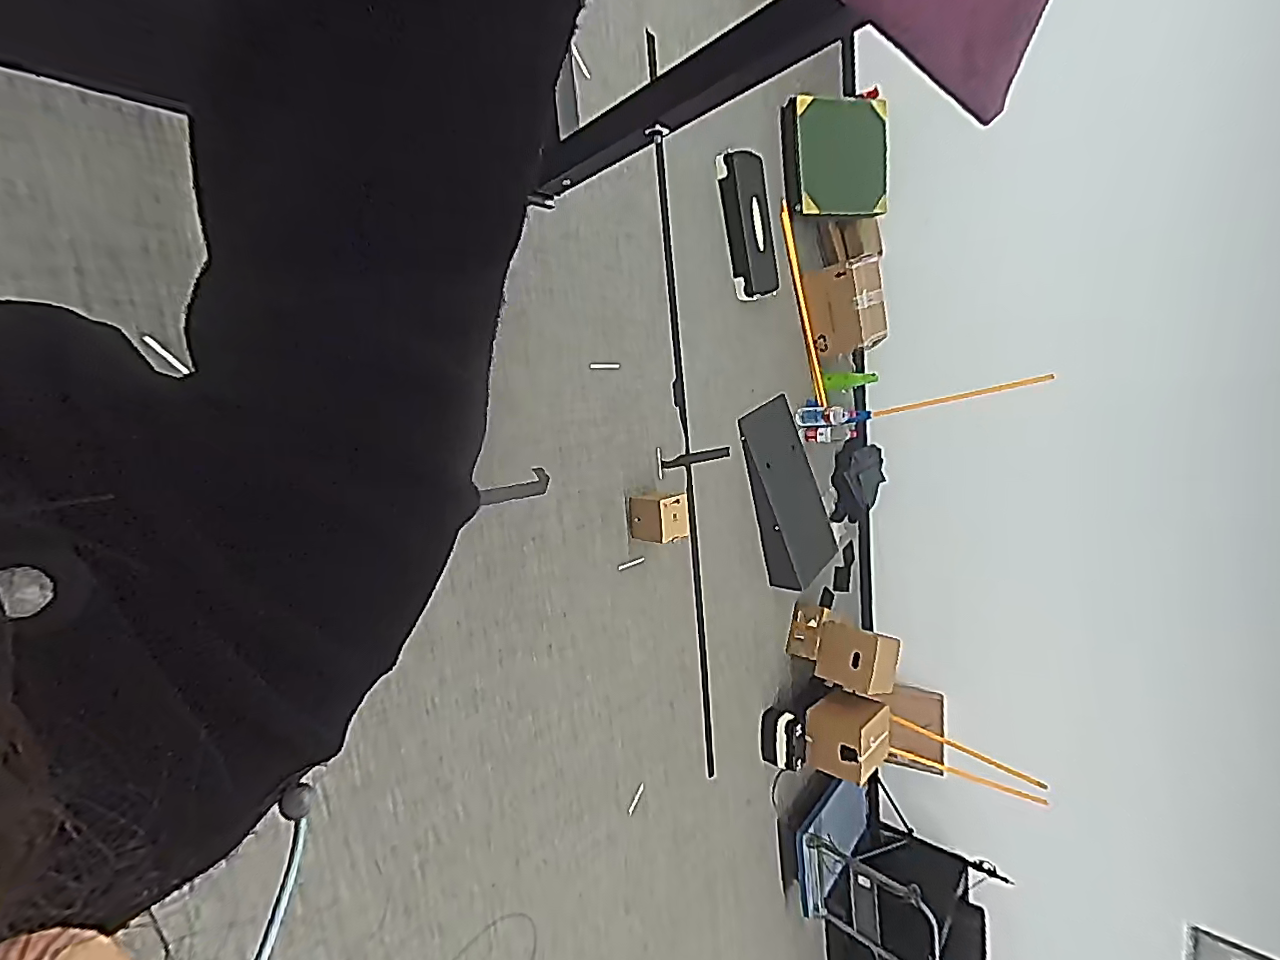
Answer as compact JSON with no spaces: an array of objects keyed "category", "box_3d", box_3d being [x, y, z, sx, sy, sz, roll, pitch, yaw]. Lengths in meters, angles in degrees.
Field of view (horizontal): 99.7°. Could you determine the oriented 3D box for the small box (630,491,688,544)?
[{"category":"small box","box_3d":[0.076,0.148,2.196,0.168,0.176,0.179,-11,101,-46]}]
